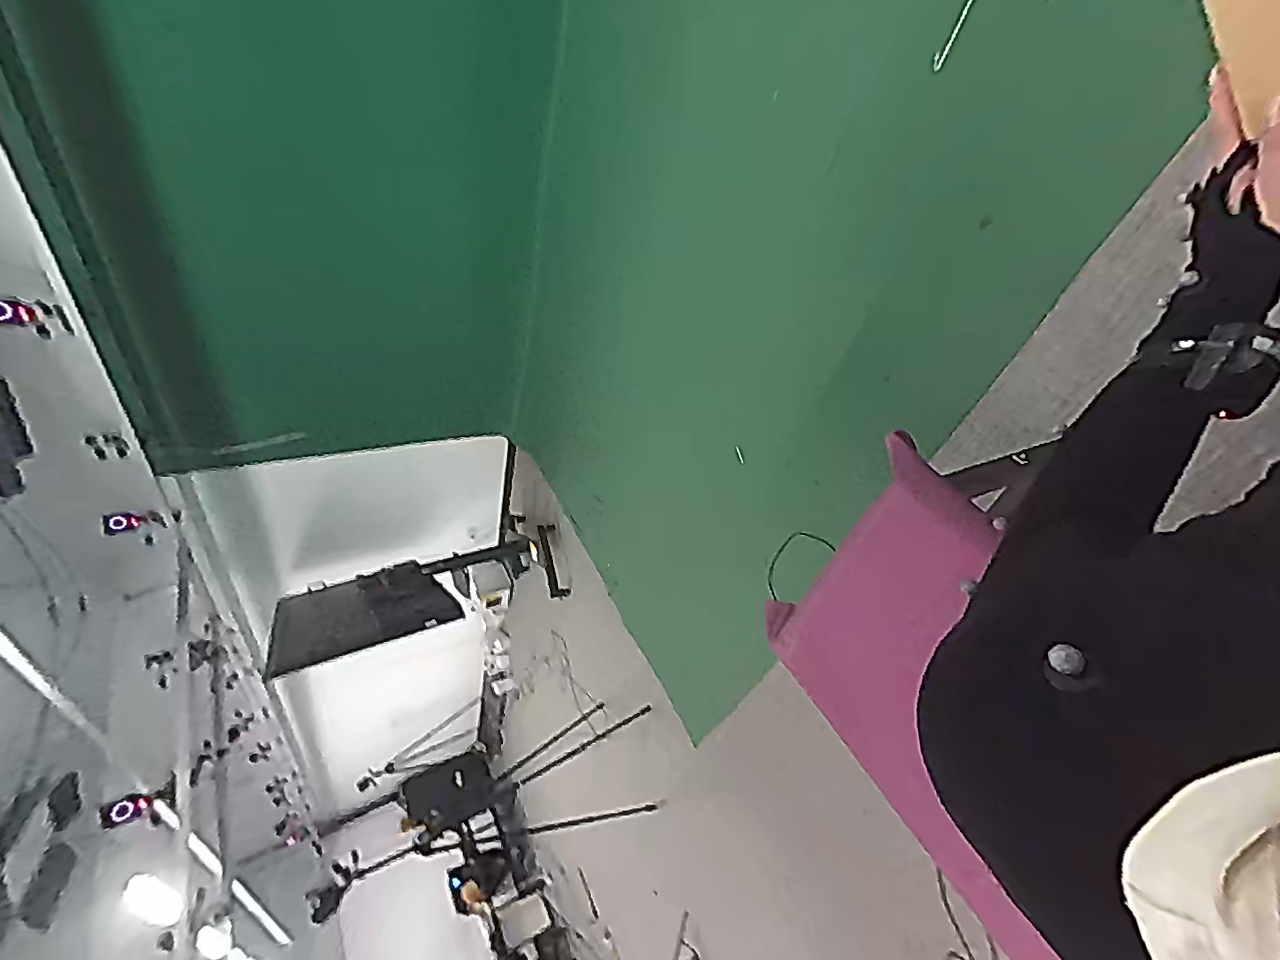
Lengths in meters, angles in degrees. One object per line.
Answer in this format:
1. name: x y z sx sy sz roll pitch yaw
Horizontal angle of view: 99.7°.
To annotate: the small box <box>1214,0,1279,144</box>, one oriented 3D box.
1. small box: 0.562 -0.377 0.395 0.168 0.176 0.179 -16 83 57
